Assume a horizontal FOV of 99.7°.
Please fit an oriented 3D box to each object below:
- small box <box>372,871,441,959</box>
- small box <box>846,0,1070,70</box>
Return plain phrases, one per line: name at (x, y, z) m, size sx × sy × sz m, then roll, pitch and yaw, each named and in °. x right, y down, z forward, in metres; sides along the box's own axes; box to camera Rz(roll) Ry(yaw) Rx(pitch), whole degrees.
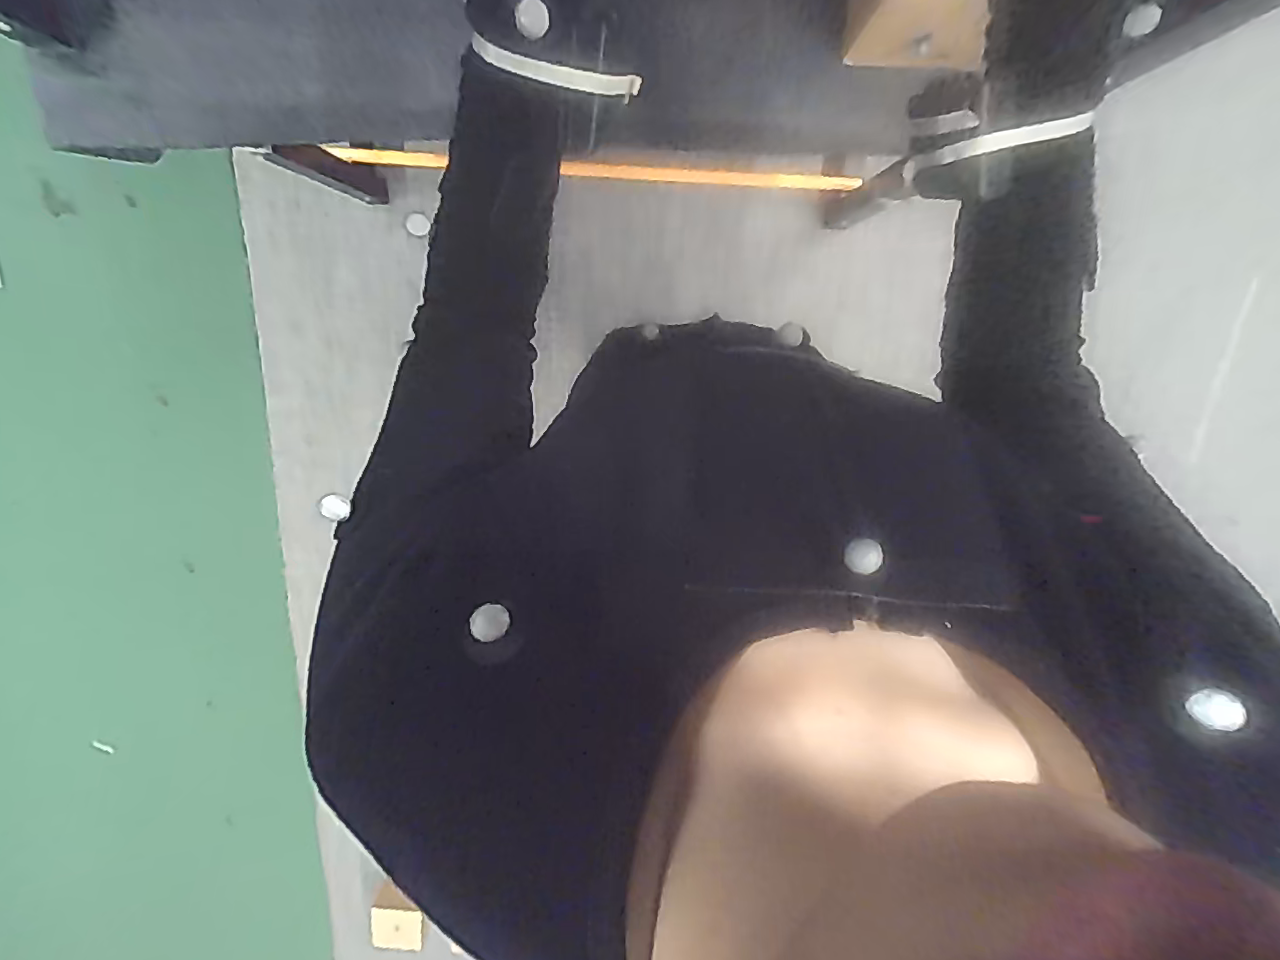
small box at (-0.788, 1.472, 1.835) m, size 0.168 × 0.176 × 0.179 m, roll 5°, pitch 105°, yaw 1°
small box at (0.307, -0.524, 0.501) m, size 0.168 × 0.176 × 0.179 m, roll 3°, pitch 106°, yaw 1°
